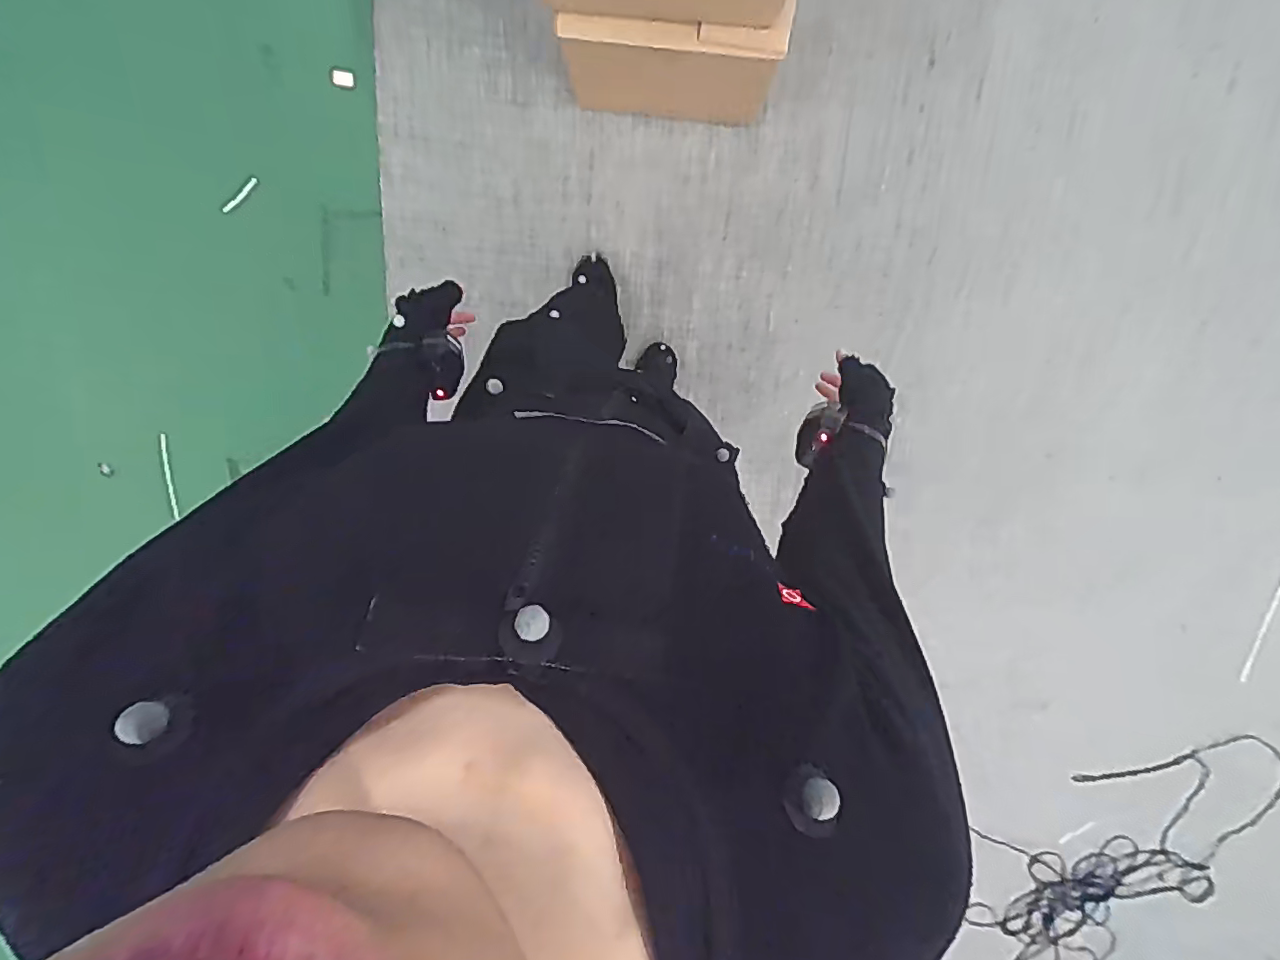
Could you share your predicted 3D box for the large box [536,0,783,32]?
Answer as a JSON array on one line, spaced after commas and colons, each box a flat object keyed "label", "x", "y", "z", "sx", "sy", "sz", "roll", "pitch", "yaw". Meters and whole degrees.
[{"label": "large box", "x": 0.036, "y": -0.889, "z": 0.740, "sx": 0.408, "sy": 0.320, "sz": 0.320, "roll": 4, "pitch": 103, "yaw": -1}]
